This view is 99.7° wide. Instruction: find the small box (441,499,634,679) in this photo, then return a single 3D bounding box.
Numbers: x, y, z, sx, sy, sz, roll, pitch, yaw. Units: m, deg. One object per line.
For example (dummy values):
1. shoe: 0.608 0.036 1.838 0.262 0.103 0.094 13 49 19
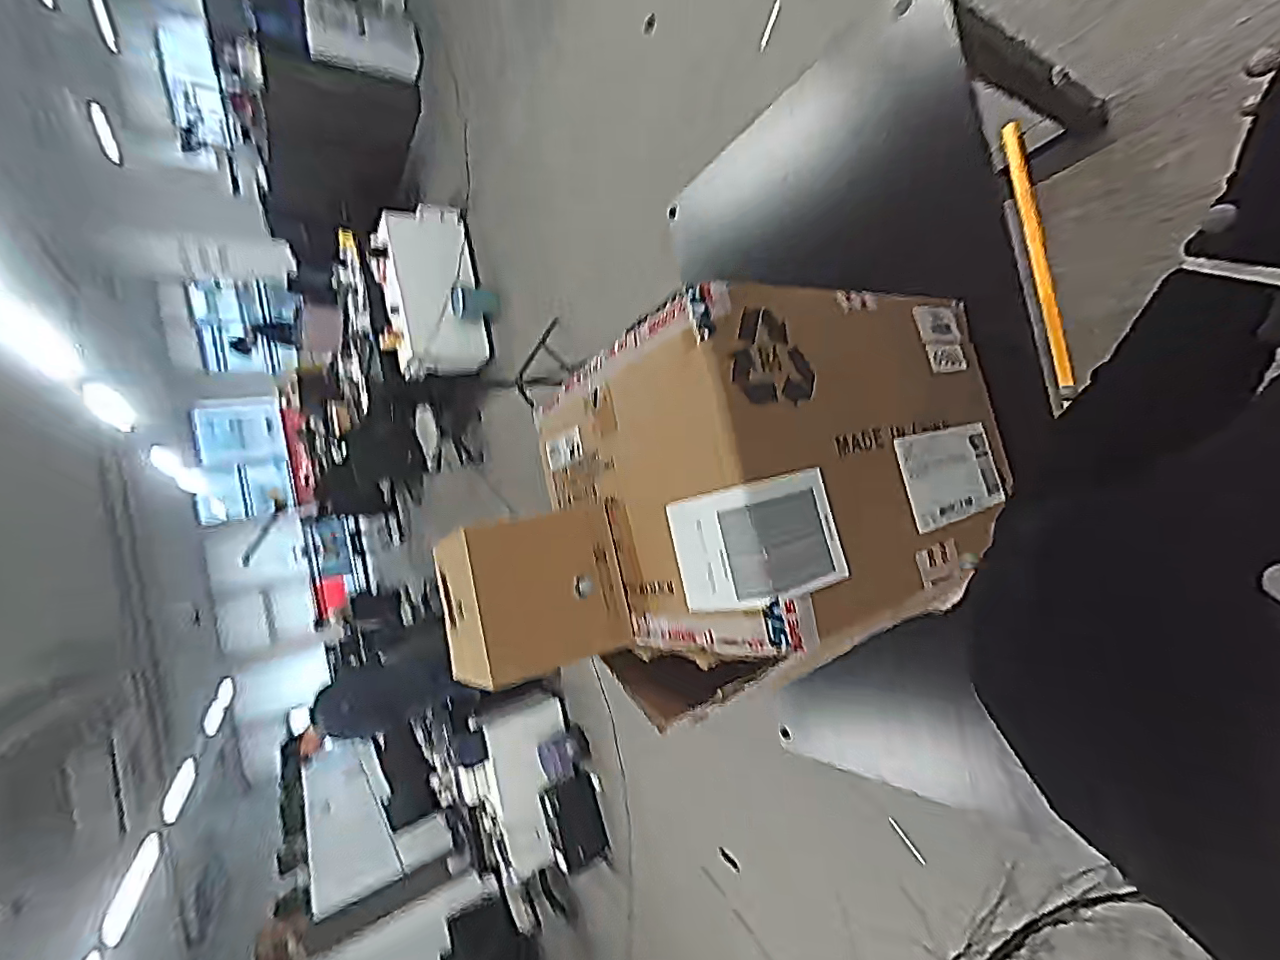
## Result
1. small box: -0.129 0.127 0.658 0.179 0.176 0.168 -25 77 57
